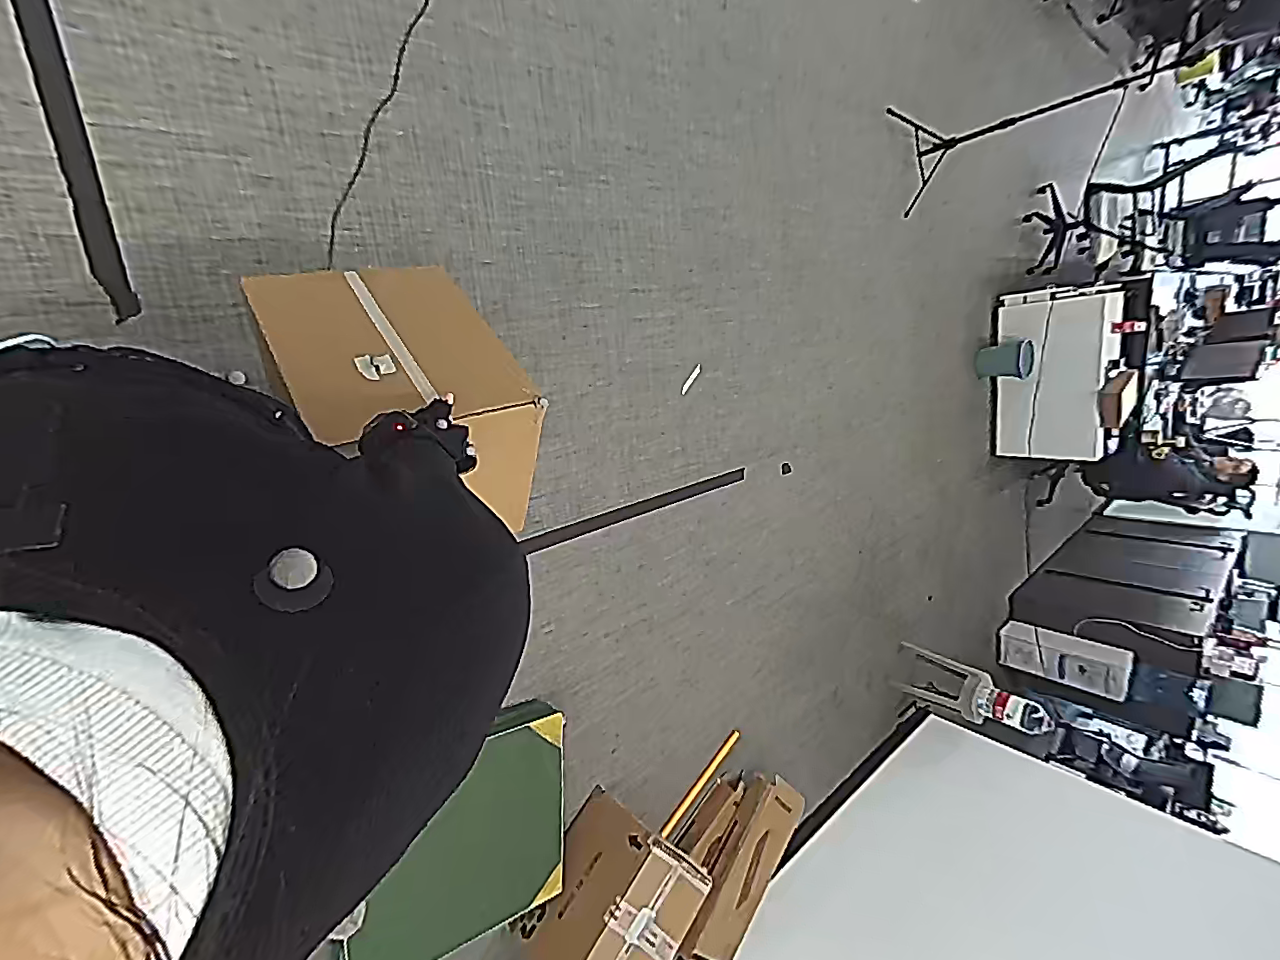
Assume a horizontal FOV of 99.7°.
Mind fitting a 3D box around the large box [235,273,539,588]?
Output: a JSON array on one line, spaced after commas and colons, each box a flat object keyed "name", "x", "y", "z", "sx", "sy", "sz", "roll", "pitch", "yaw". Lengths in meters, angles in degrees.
[{"name": "large box", "x": -0.422, "y": -0.102, "z": 0.918, "sx": 0.320, "sy": 0.408, "sz": 0.320, "roll": -20, "pitch": 148, "yaw": -33}]
